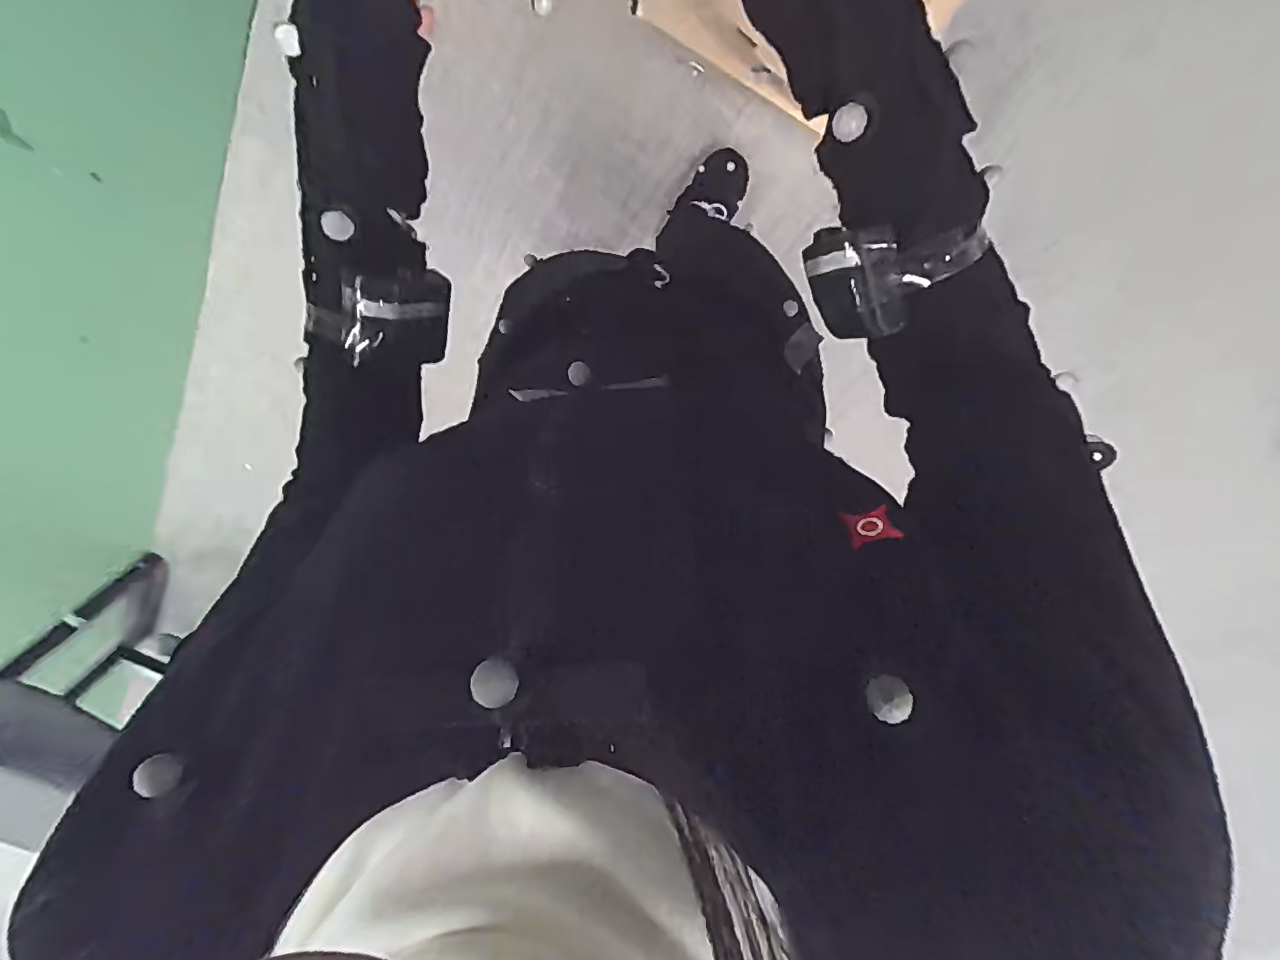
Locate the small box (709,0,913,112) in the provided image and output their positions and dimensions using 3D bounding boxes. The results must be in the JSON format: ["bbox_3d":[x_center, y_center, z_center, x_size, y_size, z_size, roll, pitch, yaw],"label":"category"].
[{"bbox_3d":[0.192,-0.529,0.574,0.168,0.176,0.179,31,123,-13],"label":"small box"}]

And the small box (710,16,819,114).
[{"bbox_3d":[0.211,-0.619,0.709,0.179,0.176,0.168,32,122,-12],"label":"small box"}]
